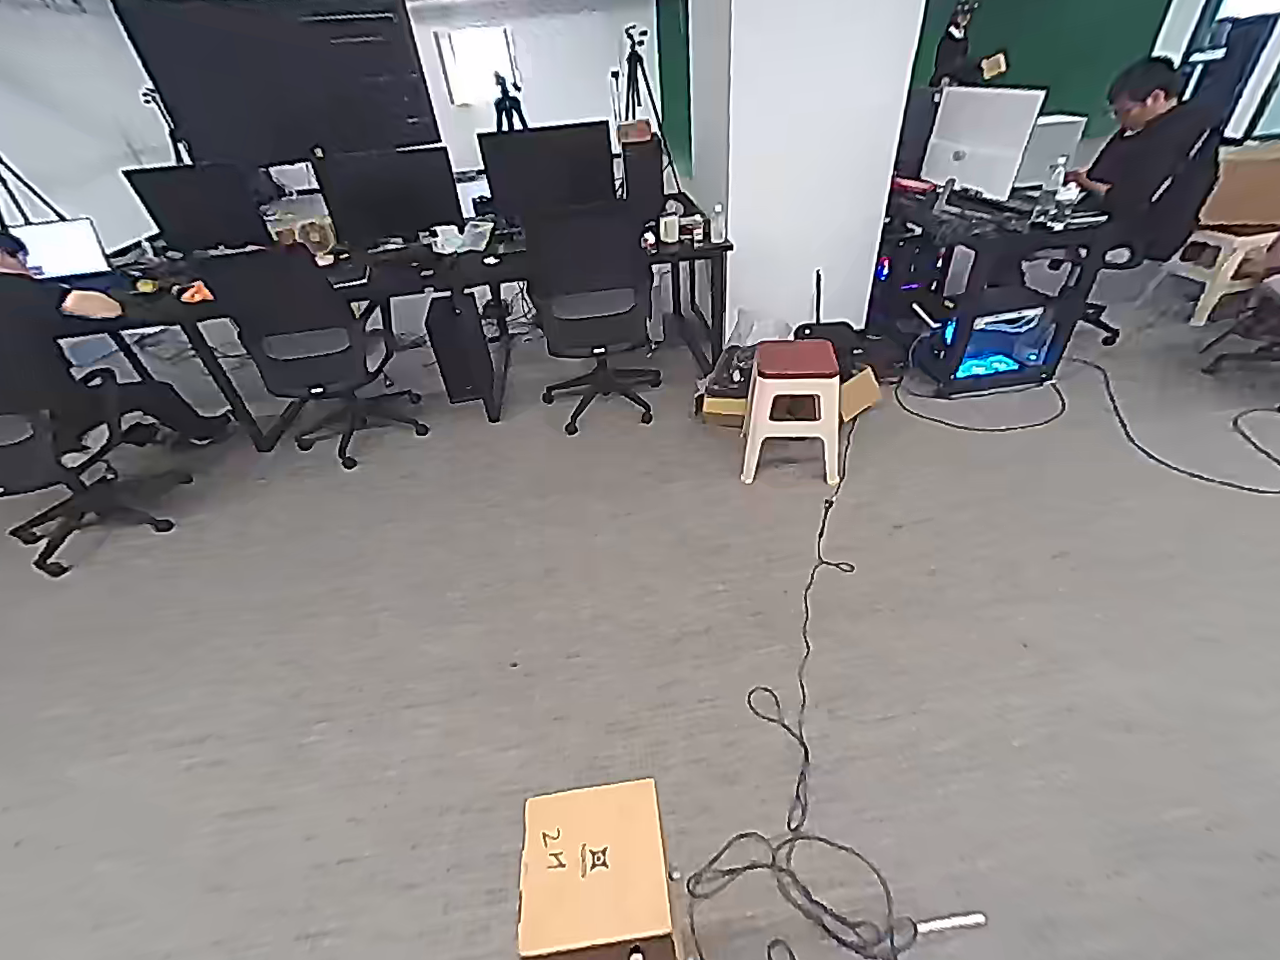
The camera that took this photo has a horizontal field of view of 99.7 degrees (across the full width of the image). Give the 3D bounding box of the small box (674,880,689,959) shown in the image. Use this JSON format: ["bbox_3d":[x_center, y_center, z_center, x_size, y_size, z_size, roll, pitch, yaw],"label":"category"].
[{"bbox_3d":[-0.008,0.791,0.891,0.179,0.176,0.168,-9,38,-1],"label":"small box"}]

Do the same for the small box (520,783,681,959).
[{"bbox_3d":[-0.044,0.524,0.700,0.179,0.176,0.168,-9,36,0],"label":"small box"}]
